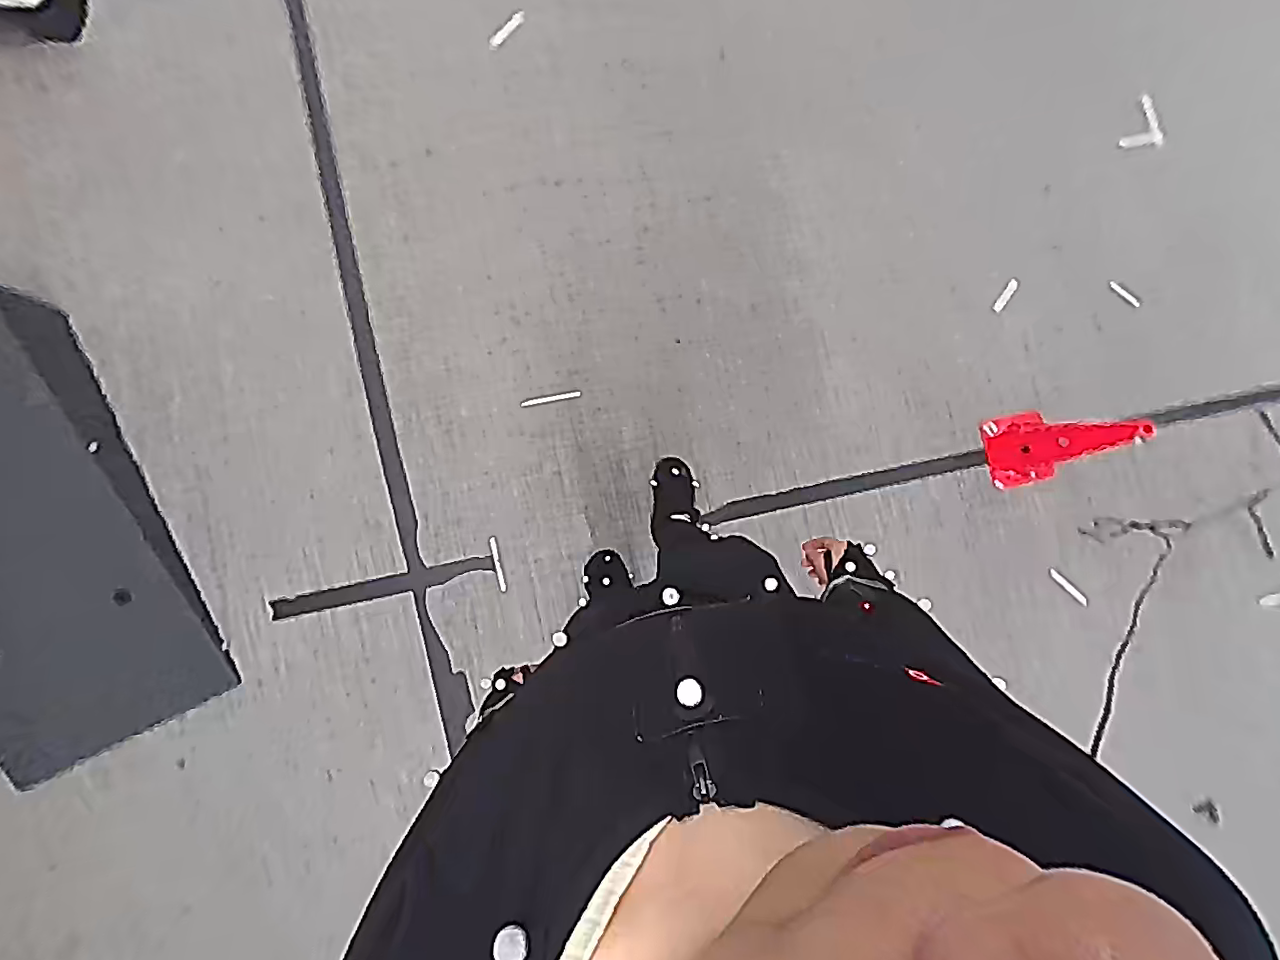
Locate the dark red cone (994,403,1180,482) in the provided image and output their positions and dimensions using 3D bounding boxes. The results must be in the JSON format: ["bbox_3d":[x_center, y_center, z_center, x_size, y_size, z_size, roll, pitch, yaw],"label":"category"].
[{"bbox_3d":[1.114,-0.114,1.351,0.202,0.394,0.201,-13,89,-8],"label":"dark red cone"}]
